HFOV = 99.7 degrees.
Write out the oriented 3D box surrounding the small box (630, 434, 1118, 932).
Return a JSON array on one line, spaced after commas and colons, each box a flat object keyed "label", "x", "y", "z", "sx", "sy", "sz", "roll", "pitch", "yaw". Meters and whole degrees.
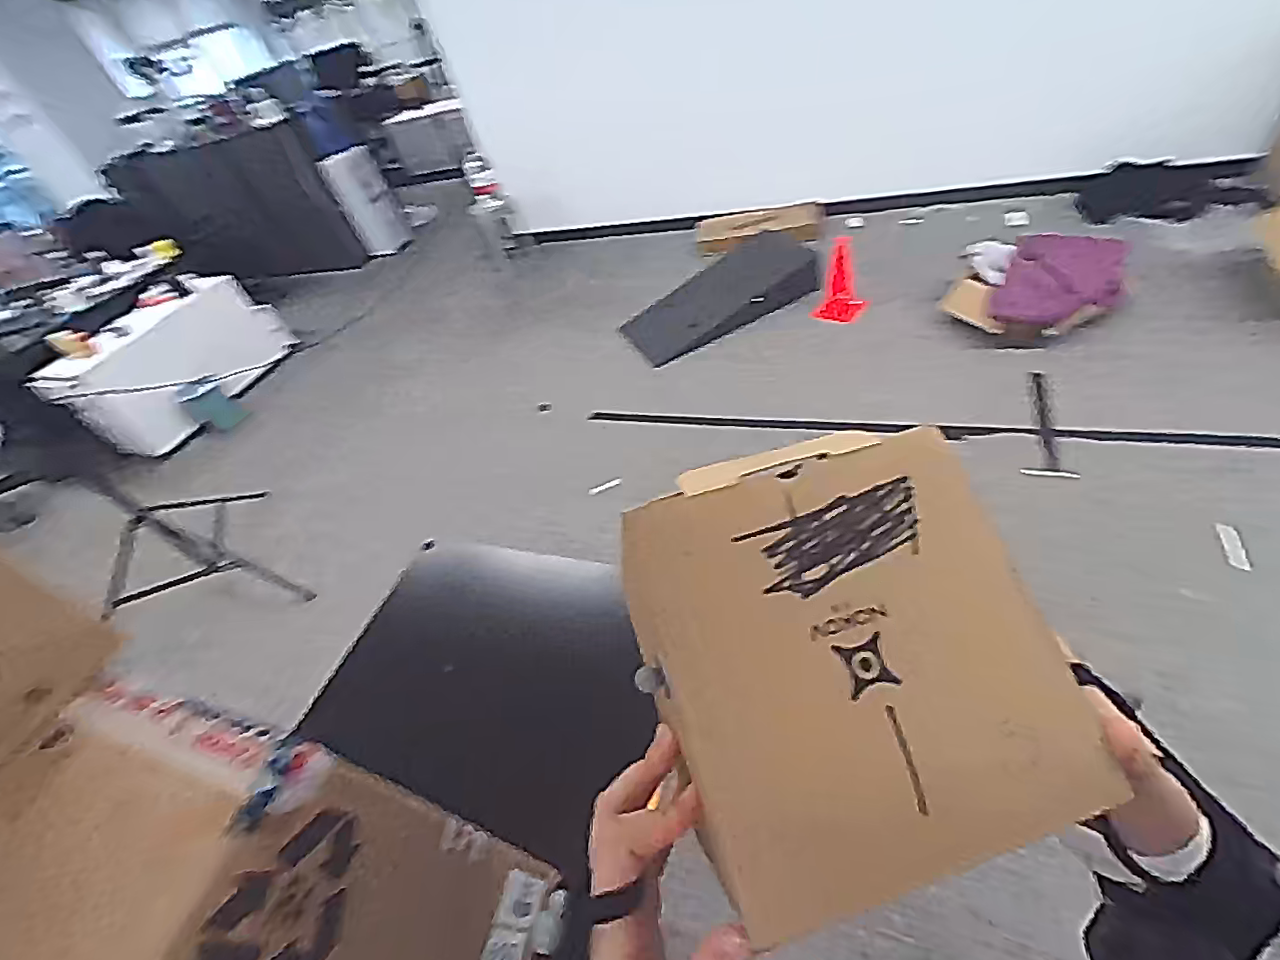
[{"label": "small box", "x": 0.092, "y": 0.102, "z": 0.314, "sx": 0.168, "sy": 0.176, "sz": 0.179, "roll": -16, "pitch": 70, "yaw": -6}]
